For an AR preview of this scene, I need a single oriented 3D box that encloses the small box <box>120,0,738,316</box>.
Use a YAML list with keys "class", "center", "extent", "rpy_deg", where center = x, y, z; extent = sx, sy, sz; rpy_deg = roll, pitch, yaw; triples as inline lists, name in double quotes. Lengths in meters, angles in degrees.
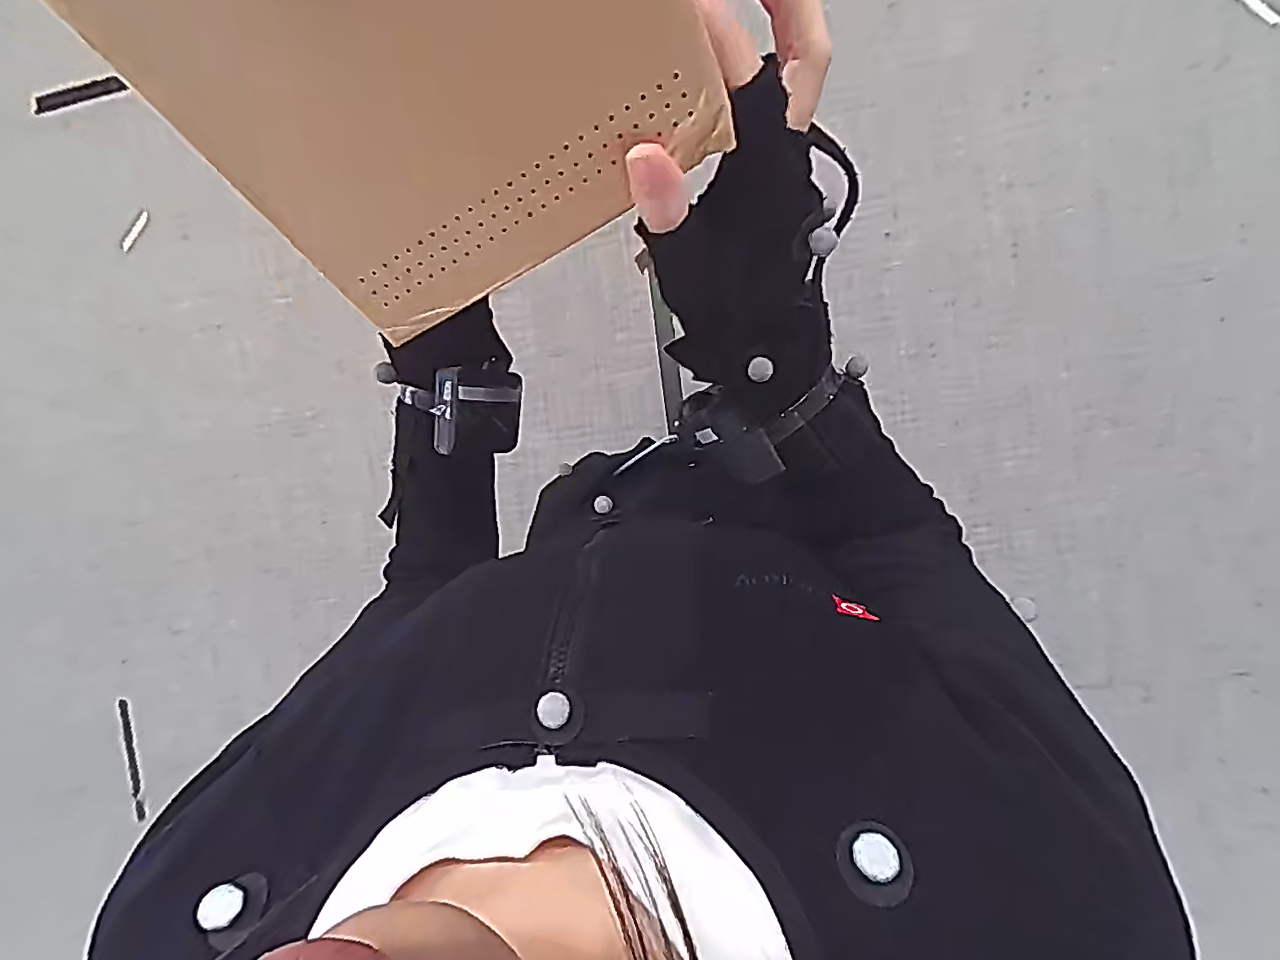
- class: "small box"
  center: [-0.077, -0.208, 0.244]
  extent: [0.179, 0.168, 0.176]
  rpy_deg: [-23, 136, 17]
